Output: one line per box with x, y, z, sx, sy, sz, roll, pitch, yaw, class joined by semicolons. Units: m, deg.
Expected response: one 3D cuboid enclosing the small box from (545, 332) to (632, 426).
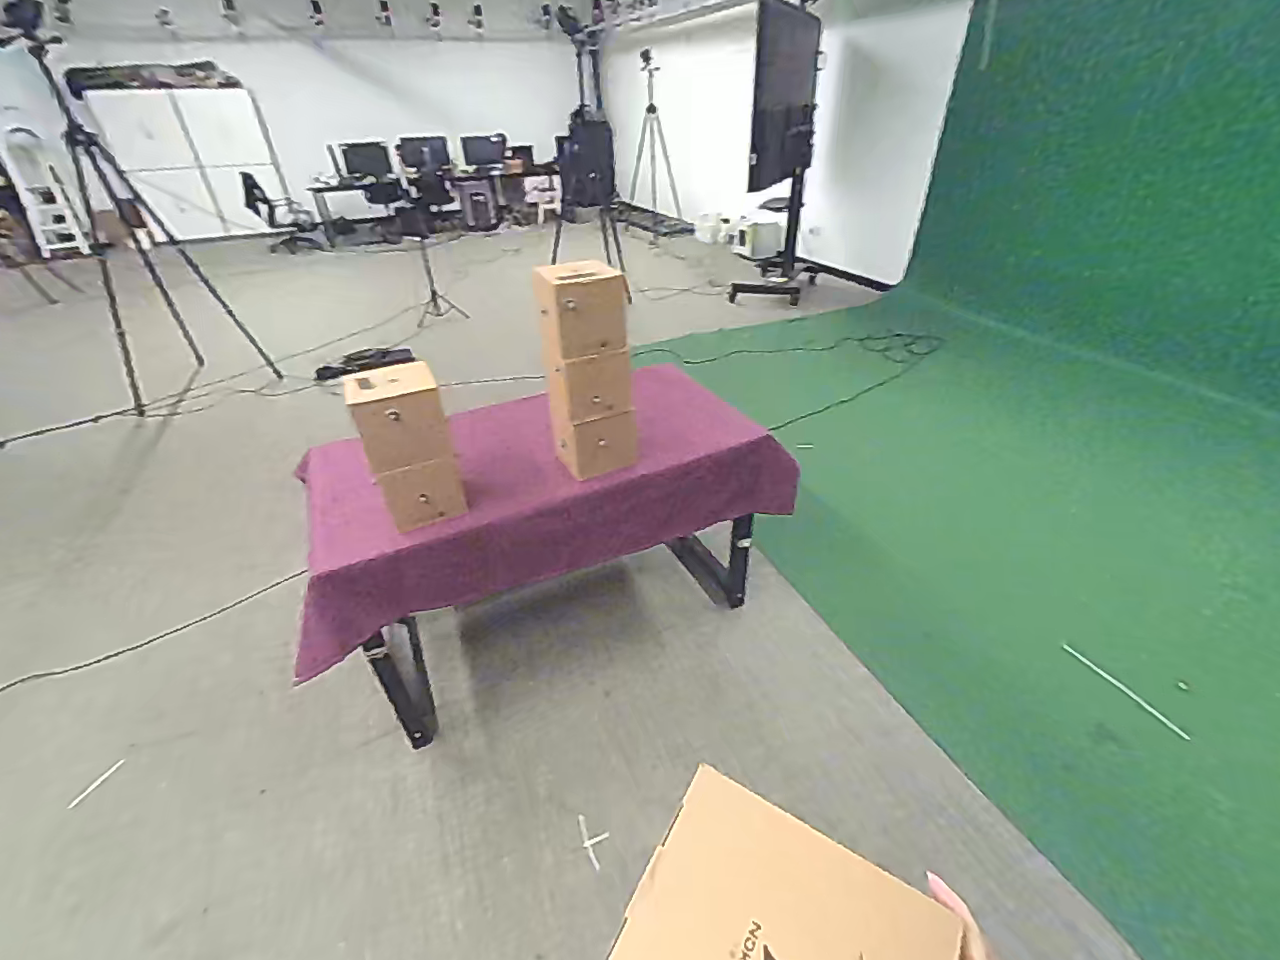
-0.128;-0.256;1.357;0.168;0.176;0.179;-17;37;-20;small box

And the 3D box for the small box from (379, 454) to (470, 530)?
-0.519;0.001;1.295;0.168;0.176;0.179;-17;36;-21;small box

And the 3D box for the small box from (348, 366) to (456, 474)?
-0.526;-0.134;1.201;0.179;0.176;0.168;-17;37;-21;small box

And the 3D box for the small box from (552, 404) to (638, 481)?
-0.116;-0.119;1.445;0.179;0.176;0.168;-19;38;-21;small box
